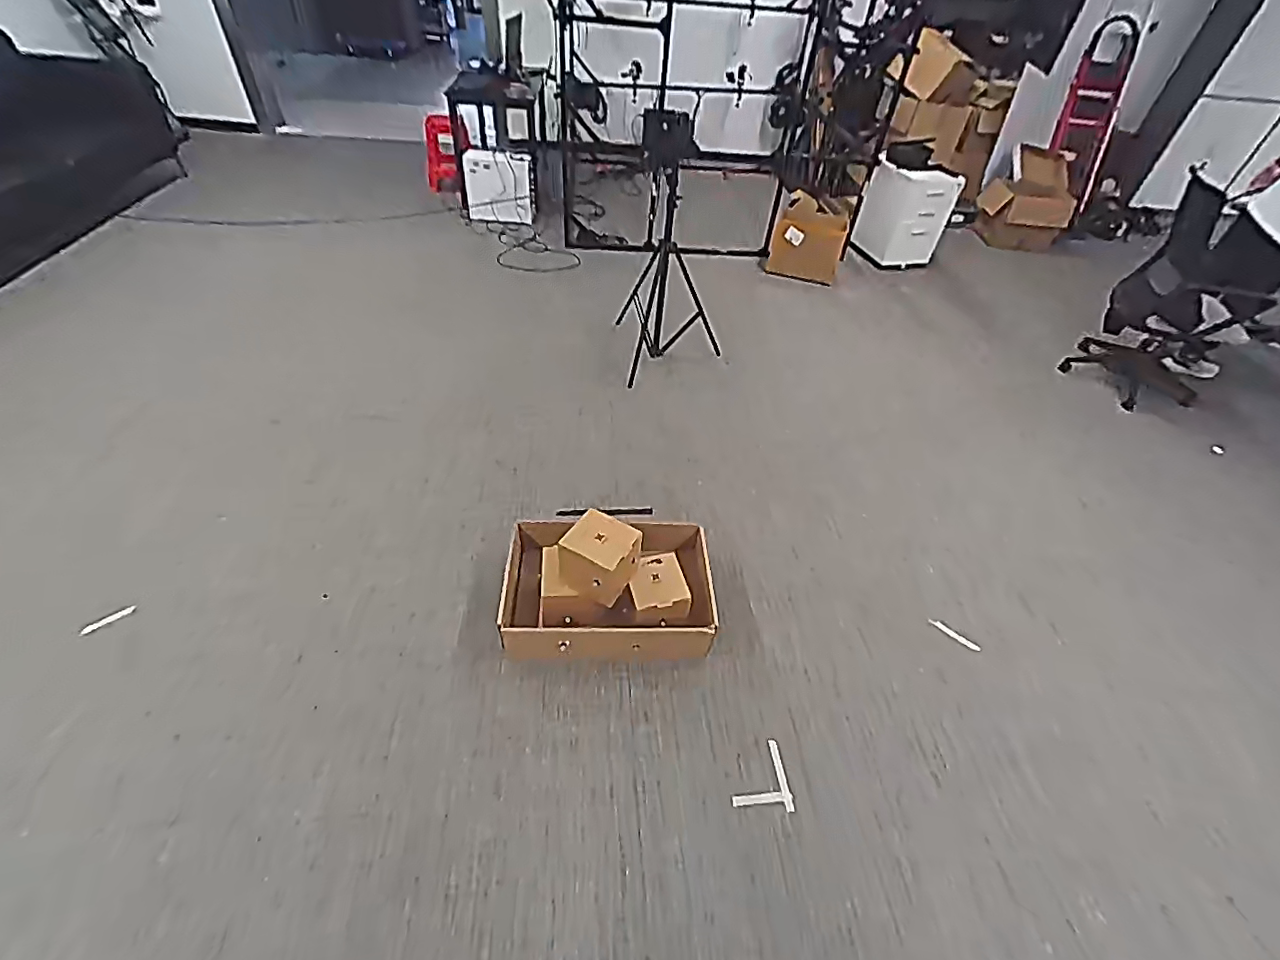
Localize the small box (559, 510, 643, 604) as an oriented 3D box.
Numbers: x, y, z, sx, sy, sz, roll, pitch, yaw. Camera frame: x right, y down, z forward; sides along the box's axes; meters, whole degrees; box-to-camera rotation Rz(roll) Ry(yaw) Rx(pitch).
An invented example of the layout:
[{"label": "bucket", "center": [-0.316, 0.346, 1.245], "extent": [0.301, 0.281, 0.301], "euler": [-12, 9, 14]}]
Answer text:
[{"label": "small box", "center": [-0.109, 0.222, 1.521], "extent": [0.179, 0.176, 0.168], "euler": [23, 44, 19]}]

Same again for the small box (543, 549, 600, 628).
[{"label": "small box", "center": [-0.208, 0.328, 1.634], "extent": [0.168, 0.176, 0.179], "euler": [0, 44, -8]}]
